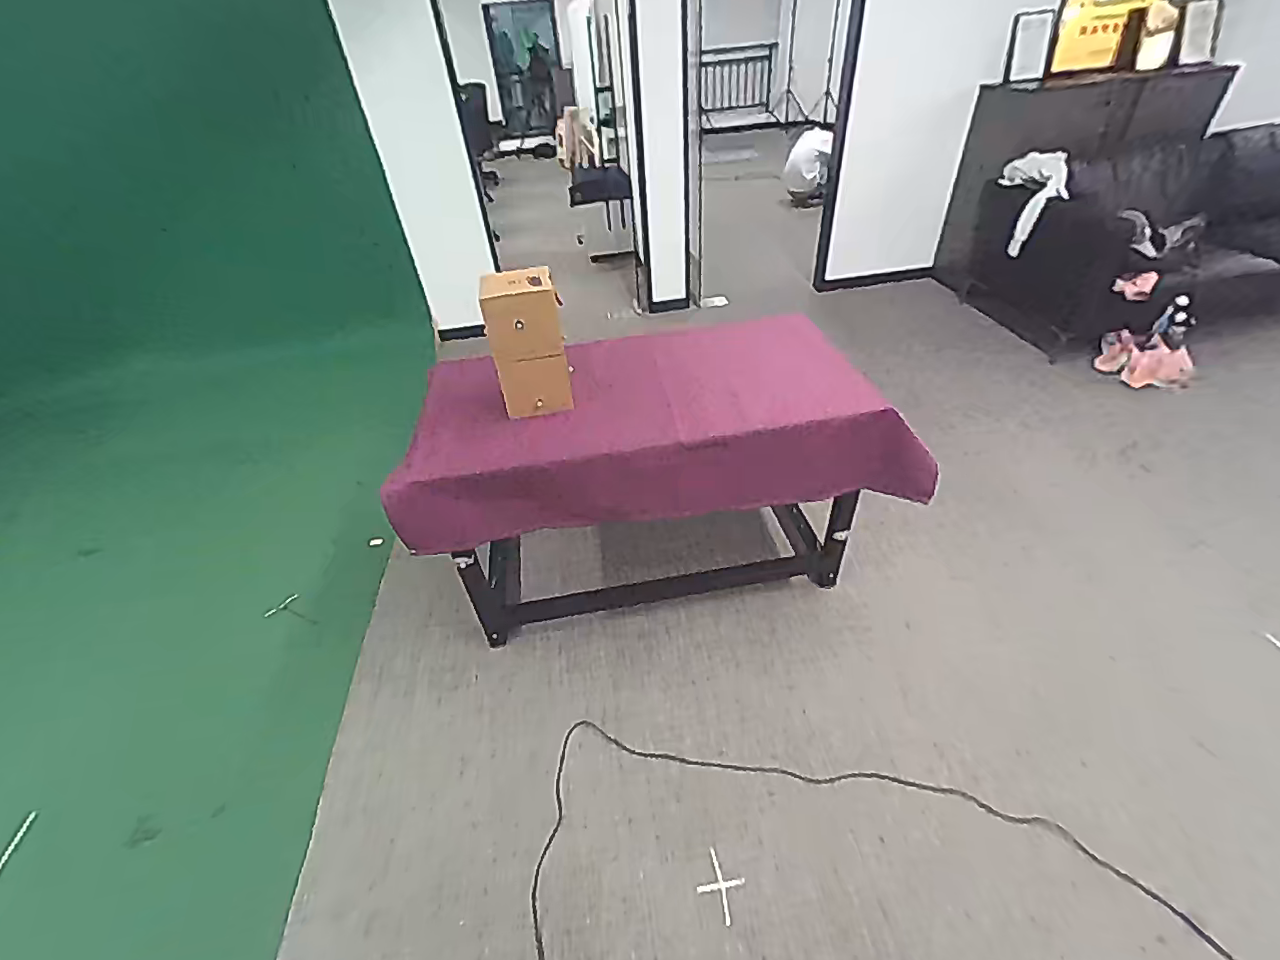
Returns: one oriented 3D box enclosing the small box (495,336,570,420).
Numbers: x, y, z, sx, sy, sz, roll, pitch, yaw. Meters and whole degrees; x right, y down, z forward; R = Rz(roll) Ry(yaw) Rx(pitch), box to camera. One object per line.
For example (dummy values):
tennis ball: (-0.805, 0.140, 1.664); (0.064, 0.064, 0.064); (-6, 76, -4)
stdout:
small box: (-0.286, -0.282, 1.463); (0.179, 0.176, 0.168); (-10, 41, -6)

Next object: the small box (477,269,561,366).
small box: (-0.297, -0.407, 1.356); (0.179, 0.176, 0.168); (-11, 41, -5)
